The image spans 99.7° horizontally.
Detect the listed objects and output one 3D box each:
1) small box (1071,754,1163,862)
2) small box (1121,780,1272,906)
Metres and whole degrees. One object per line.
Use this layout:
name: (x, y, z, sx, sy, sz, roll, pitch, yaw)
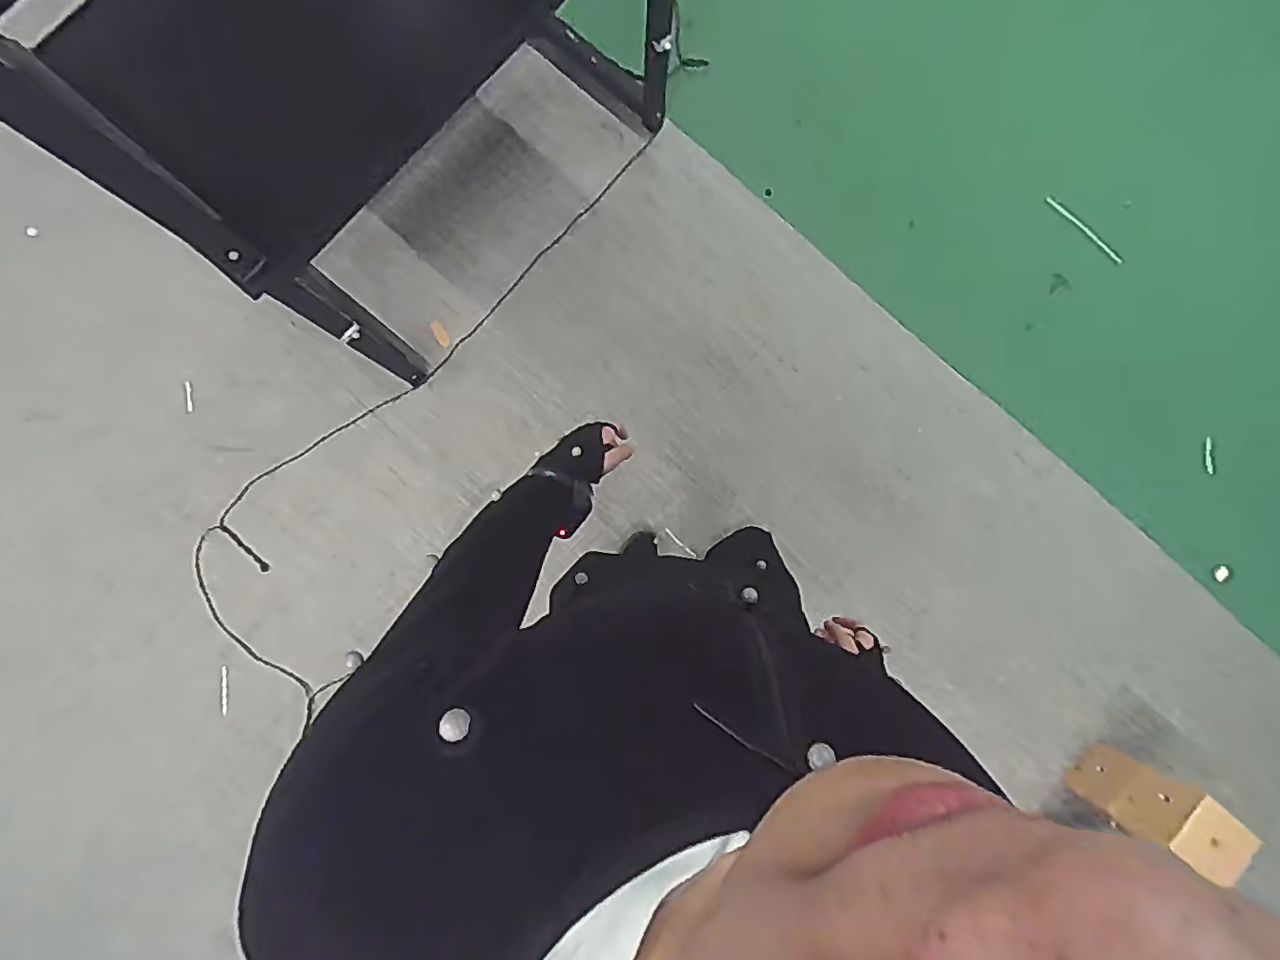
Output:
small box: (1.384, 0.908, 1.523, 0.179, 0.176, 0.168, 44, 87, 2)
small box: (1.386, 0.895, 1.361, 0.179, 0.176, 0.168, 42, 85, 2)
